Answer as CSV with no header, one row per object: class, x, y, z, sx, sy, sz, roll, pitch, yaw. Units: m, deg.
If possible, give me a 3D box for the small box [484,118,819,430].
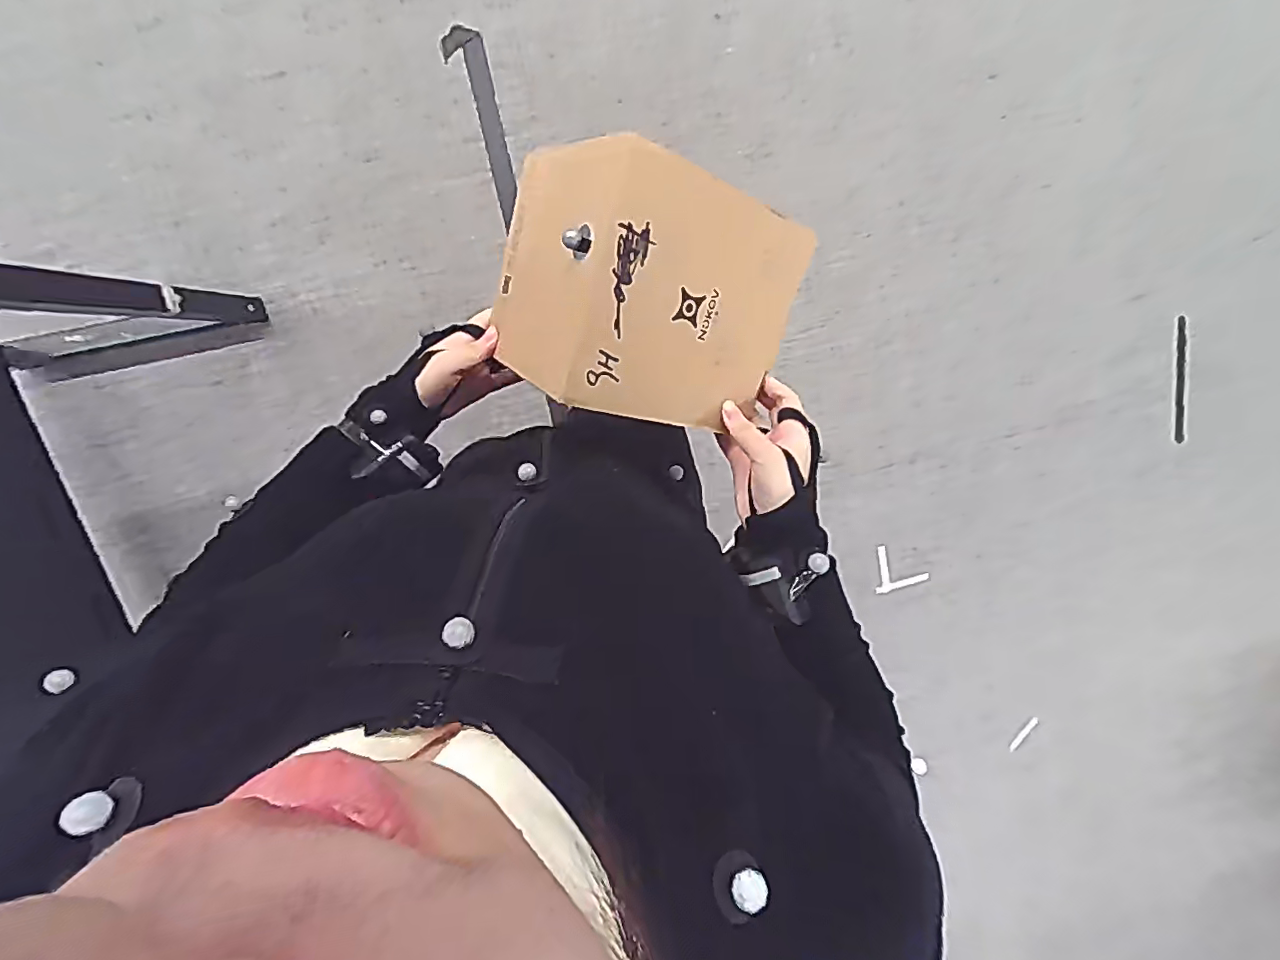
small box,-0.001,-0.152,0.430,0.179,0.176,0.168,6,109,-37
